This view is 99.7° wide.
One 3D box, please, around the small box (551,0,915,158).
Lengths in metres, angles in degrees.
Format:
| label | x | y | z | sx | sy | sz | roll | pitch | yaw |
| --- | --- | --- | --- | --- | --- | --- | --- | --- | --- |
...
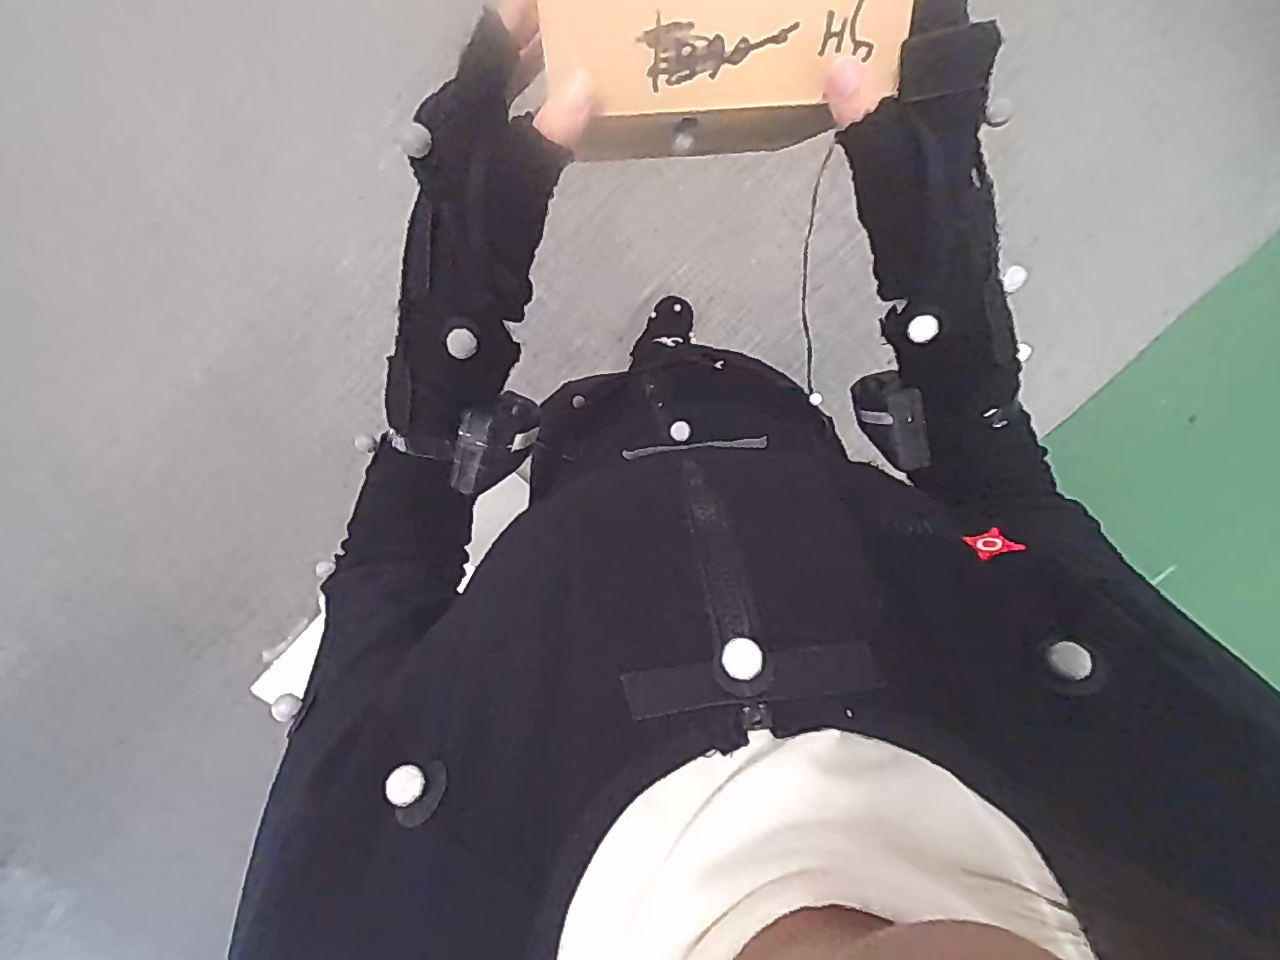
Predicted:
| label | x | y | z | sx | sy | sz | roll | pitch | yaw |
| --- | --- | --- | --- | --- | --- | --- | --- | --- | --- |
| small box | 0.035 | -0.289 | 0.292 | 0.168 | 0.176 | 0.179 | -3 | 114 | -2 |
